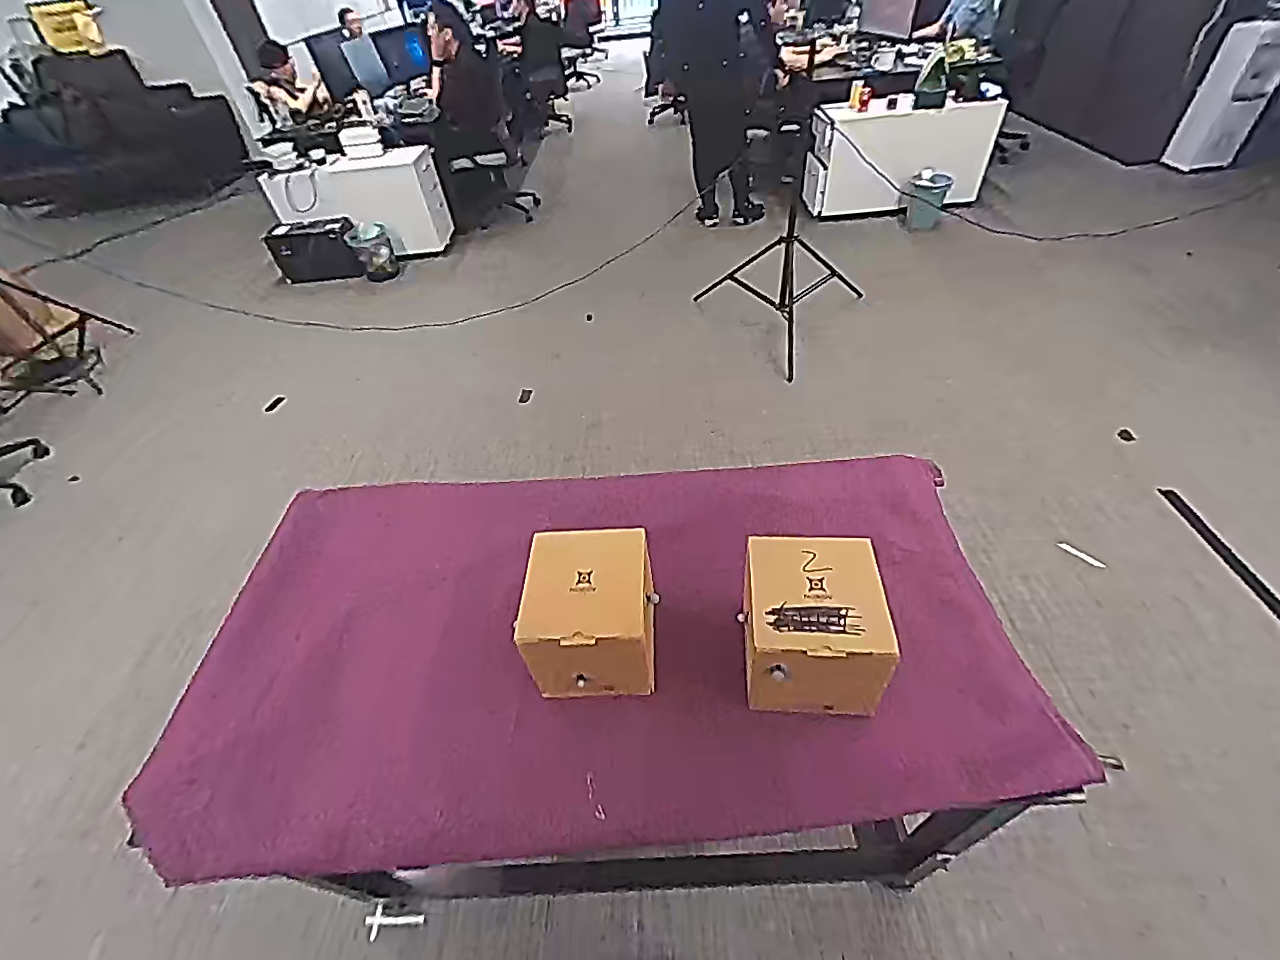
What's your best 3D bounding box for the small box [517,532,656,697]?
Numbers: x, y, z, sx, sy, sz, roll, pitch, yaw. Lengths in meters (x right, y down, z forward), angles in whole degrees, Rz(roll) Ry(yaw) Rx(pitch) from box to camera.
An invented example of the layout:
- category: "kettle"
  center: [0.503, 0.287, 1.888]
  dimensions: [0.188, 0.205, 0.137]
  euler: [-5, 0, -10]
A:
- category: "small box"
  center: [-0.066, 0.196, 0.786]
  dimensions: [0.168, 0.176, 0.179]
  euler: [-3, 45, 4]
